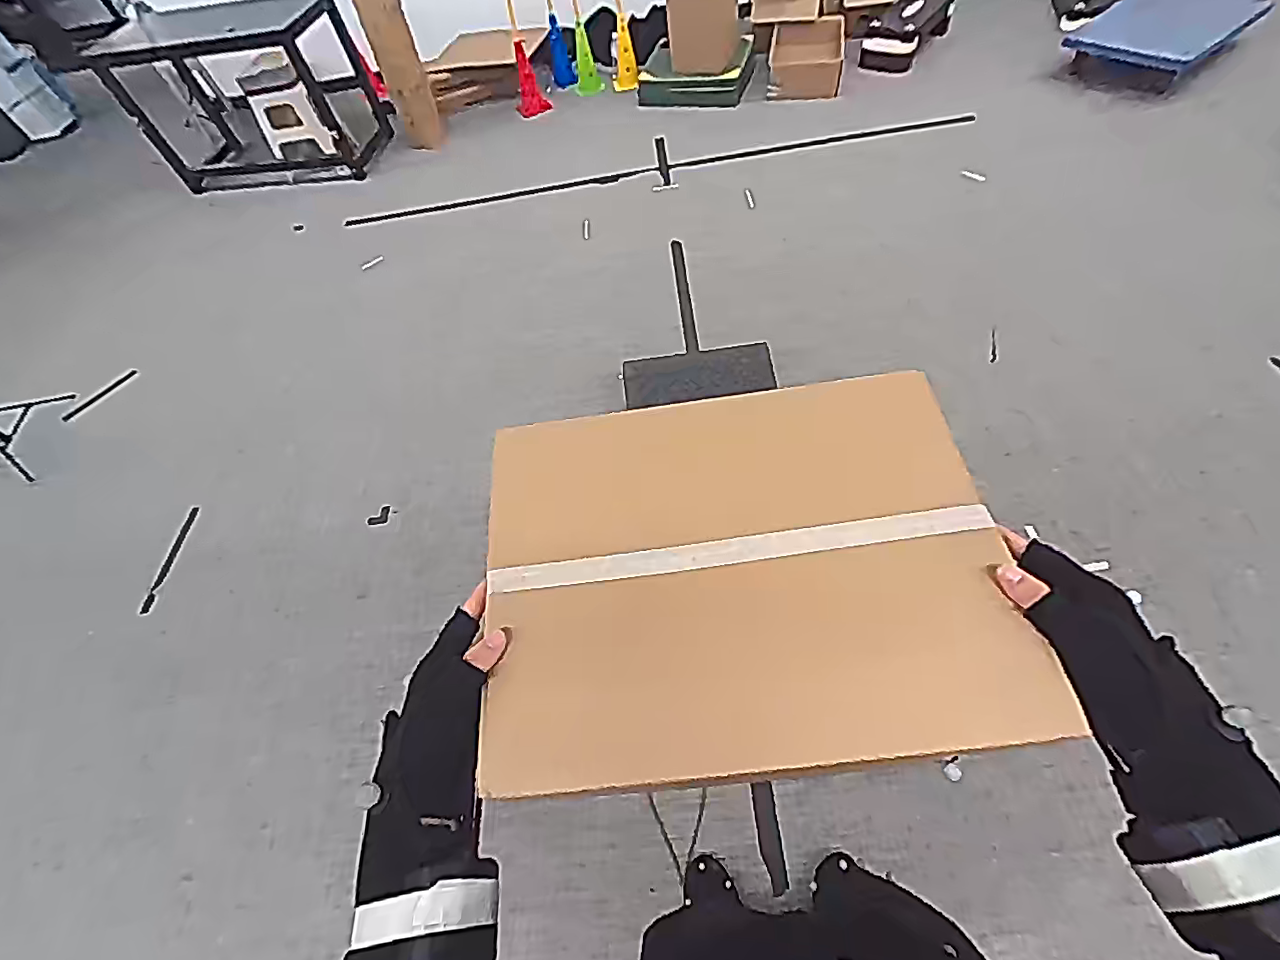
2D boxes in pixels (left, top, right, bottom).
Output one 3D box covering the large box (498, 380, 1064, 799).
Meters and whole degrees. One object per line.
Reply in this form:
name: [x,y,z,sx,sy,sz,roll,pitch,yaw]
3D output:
large box: [0.098,0.136,0.577,0.408,0.320,0.320,-8,59,4]
